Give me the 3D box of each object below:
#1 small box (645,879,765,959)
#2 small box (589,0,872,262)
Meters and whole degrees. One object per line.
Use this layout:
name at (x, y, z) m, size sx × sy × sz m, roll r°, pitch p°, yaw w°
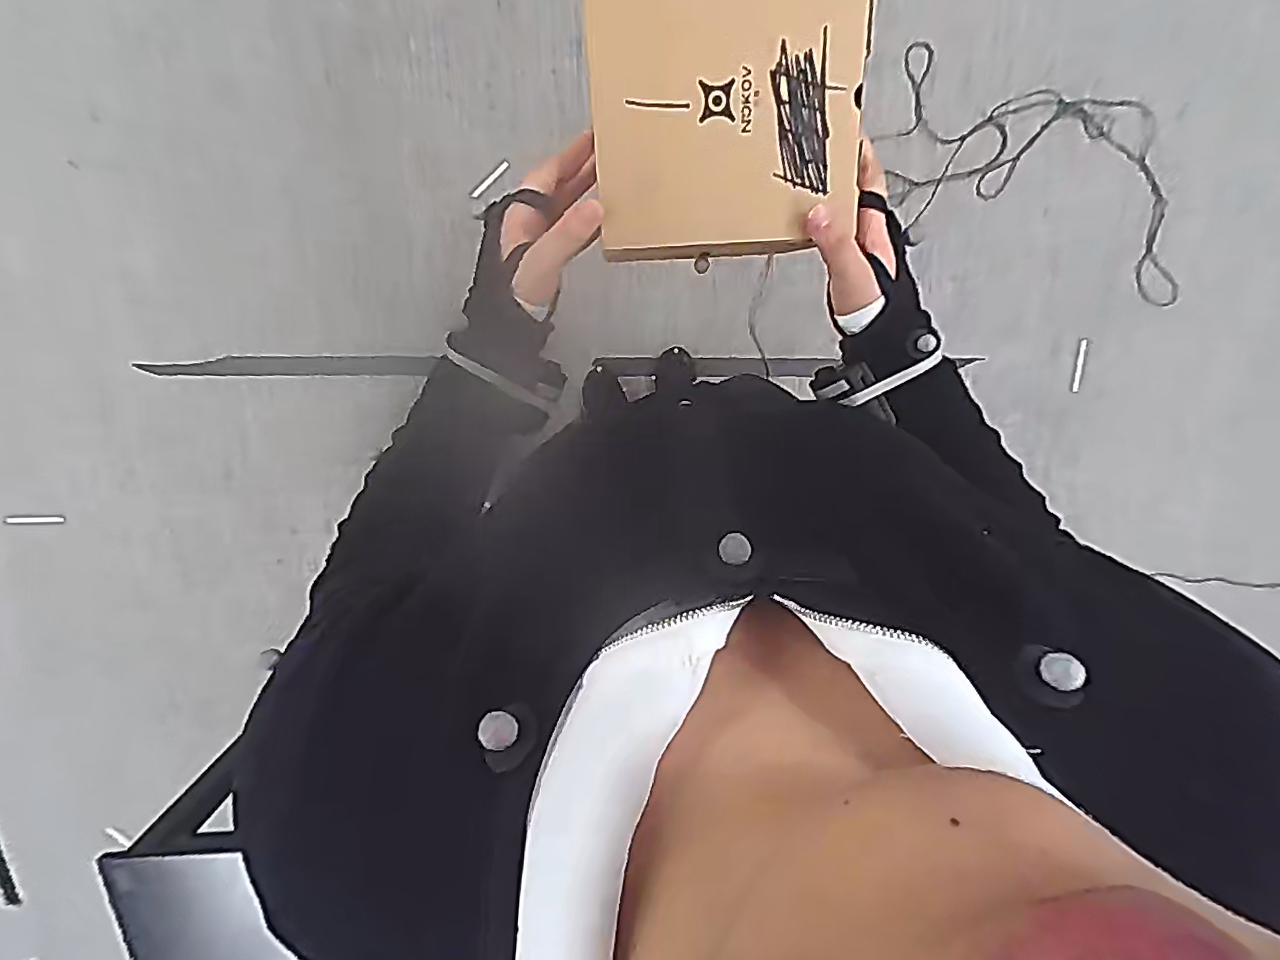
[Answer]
small box at (0.101, 0.769, 0.854) m, size 0.179 × 0.176 × 0.168 m, roll -1°, pitch 103°, yaw -2°
small box at (0.054, -0.265, 0.420) m, size 0.179 × 0.176 × 0.168 m, roll -3°, pitch 109°, yaw -1°
